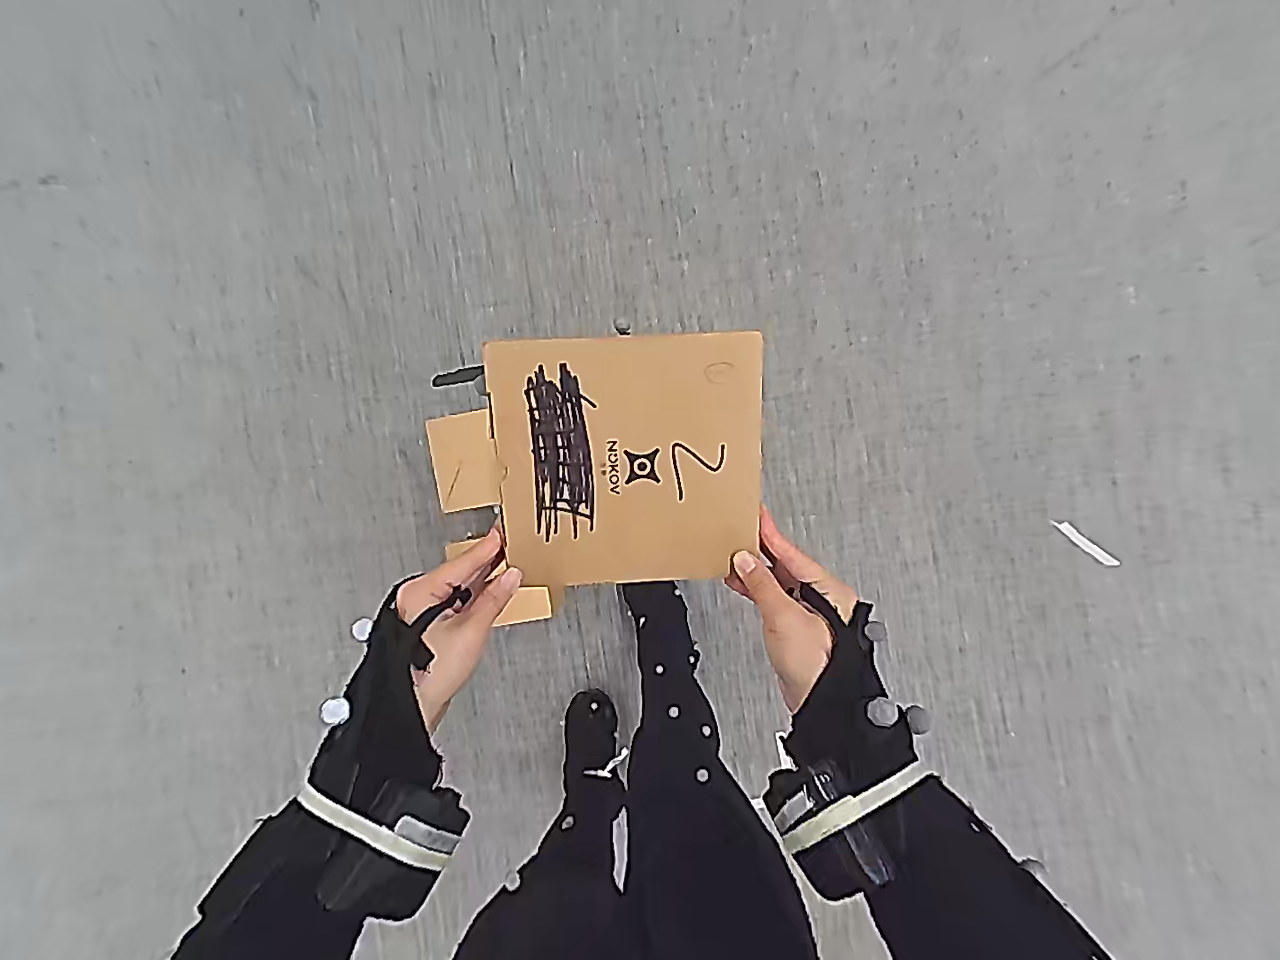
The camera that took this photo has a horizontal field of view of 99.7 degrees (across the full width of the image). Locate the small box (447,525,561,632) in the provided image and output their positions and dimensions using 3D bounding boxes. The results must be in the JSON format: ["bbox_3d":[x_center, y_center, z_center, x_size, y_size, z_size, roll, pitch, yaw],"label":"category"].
[{"bbox_3d":[-0.258,0.186,1.068,0.179,0.176,0.168,-9,89,1],"label":"small box"}]

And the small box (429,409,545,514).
[{"bbox_3d":[-0.296,-0.035,1.066,0.168,0.176,0.179,-11,89,1],"label":"small box"}]
